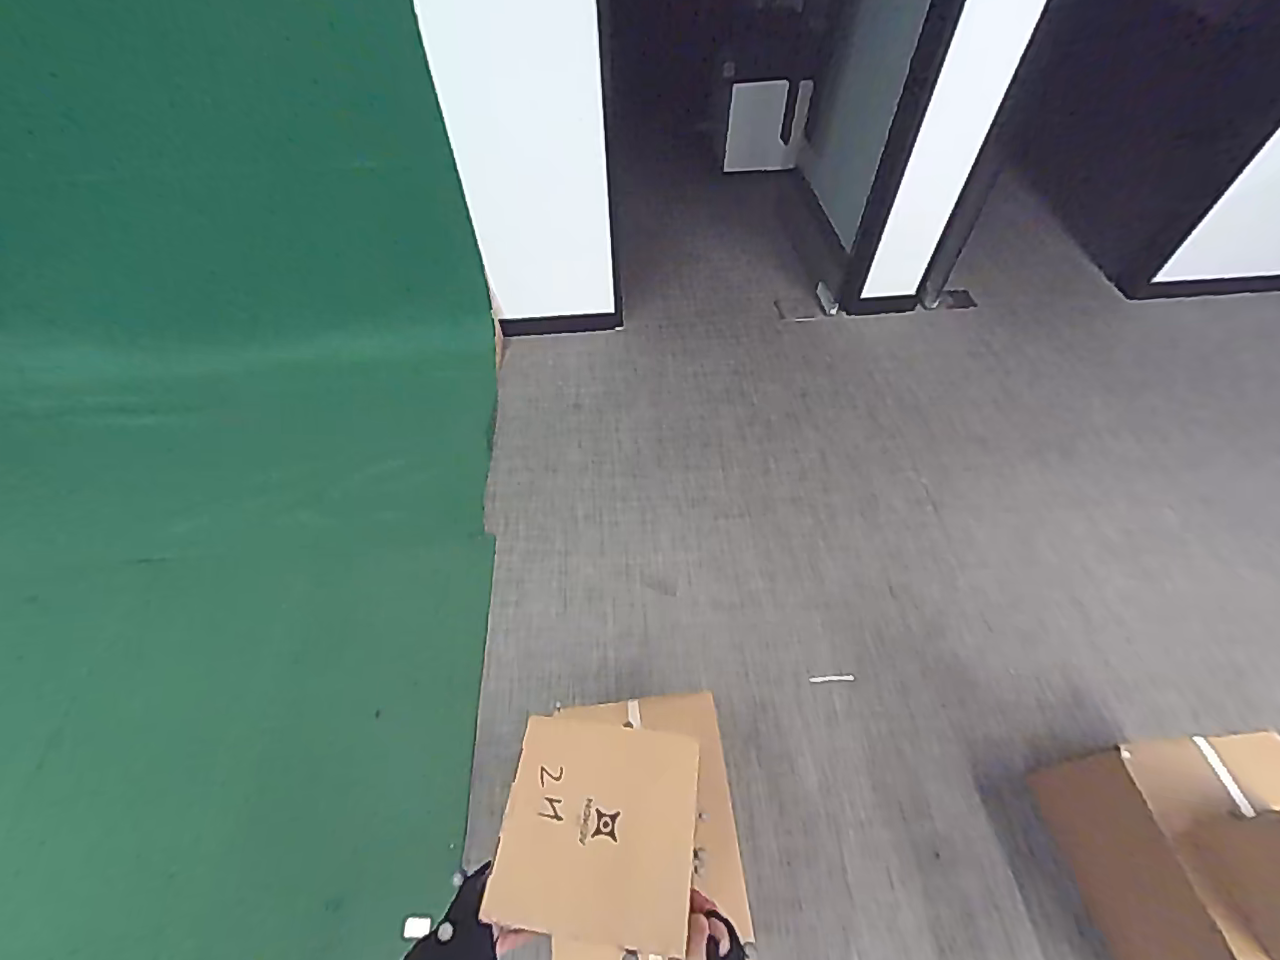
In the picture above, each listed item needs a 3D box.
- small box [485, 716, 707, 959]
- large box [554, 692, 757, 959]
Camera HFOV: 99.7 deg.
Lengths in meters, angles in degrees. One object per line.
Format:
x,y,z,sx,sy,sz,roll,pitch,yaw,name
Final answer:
-0.029,0.360,0.553,0.179,0.176,0.168,5,52,8,small box
0.013,0.675,1.044,0.320,0.320,0.408,-5,52,-2,large box
